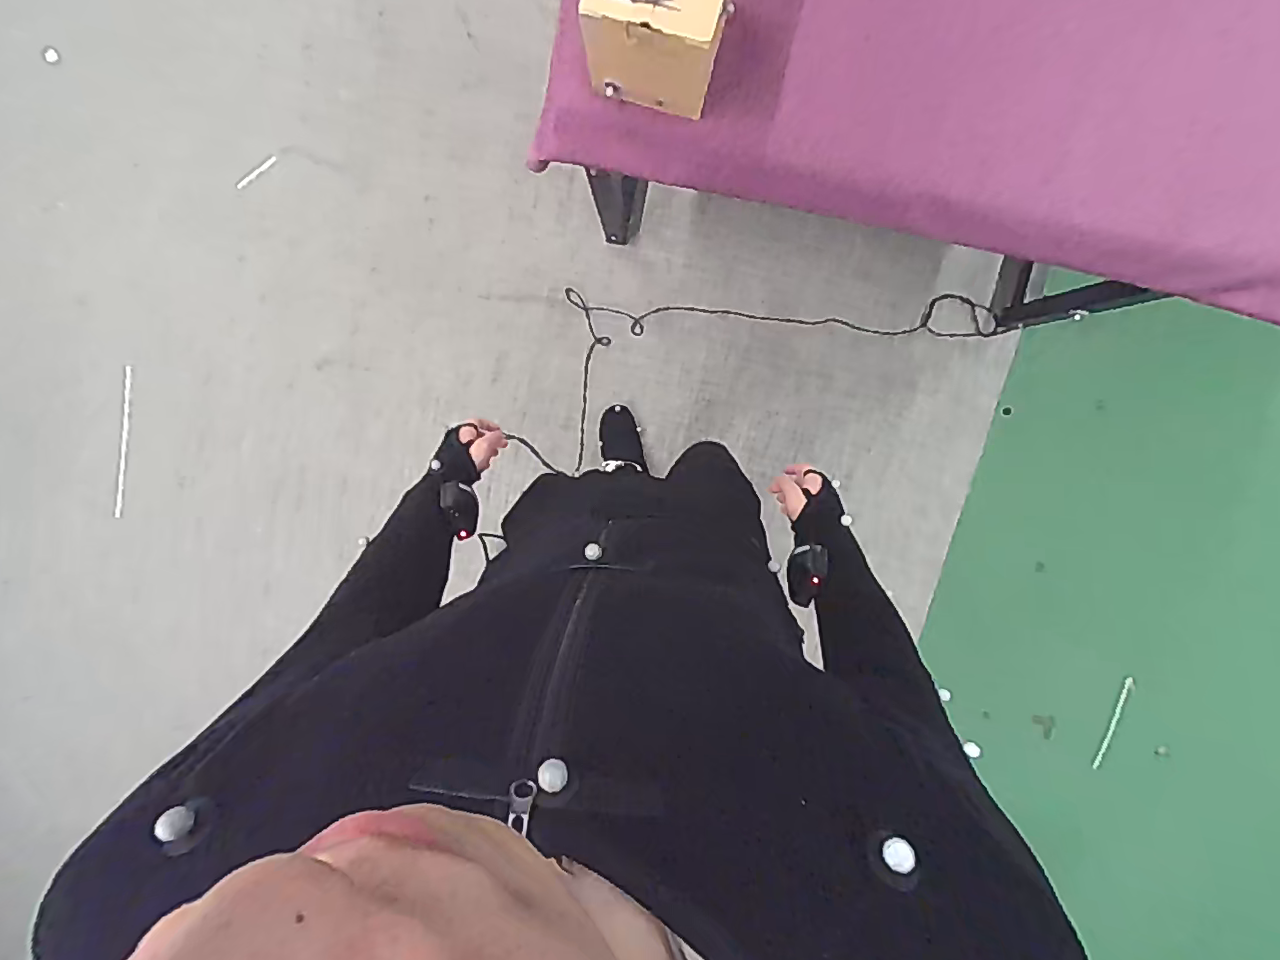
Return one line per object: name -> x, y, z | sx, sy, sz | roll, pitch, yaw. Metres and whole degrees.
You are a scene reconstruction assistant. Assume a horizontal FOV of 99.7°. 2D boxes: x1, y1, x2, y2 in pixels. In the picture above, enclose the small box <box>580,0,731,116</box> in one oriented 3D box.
small box -> 0.030, -0.623, 0.708 | 0.168, 0.176, 0.179 | 15, 97, -1
